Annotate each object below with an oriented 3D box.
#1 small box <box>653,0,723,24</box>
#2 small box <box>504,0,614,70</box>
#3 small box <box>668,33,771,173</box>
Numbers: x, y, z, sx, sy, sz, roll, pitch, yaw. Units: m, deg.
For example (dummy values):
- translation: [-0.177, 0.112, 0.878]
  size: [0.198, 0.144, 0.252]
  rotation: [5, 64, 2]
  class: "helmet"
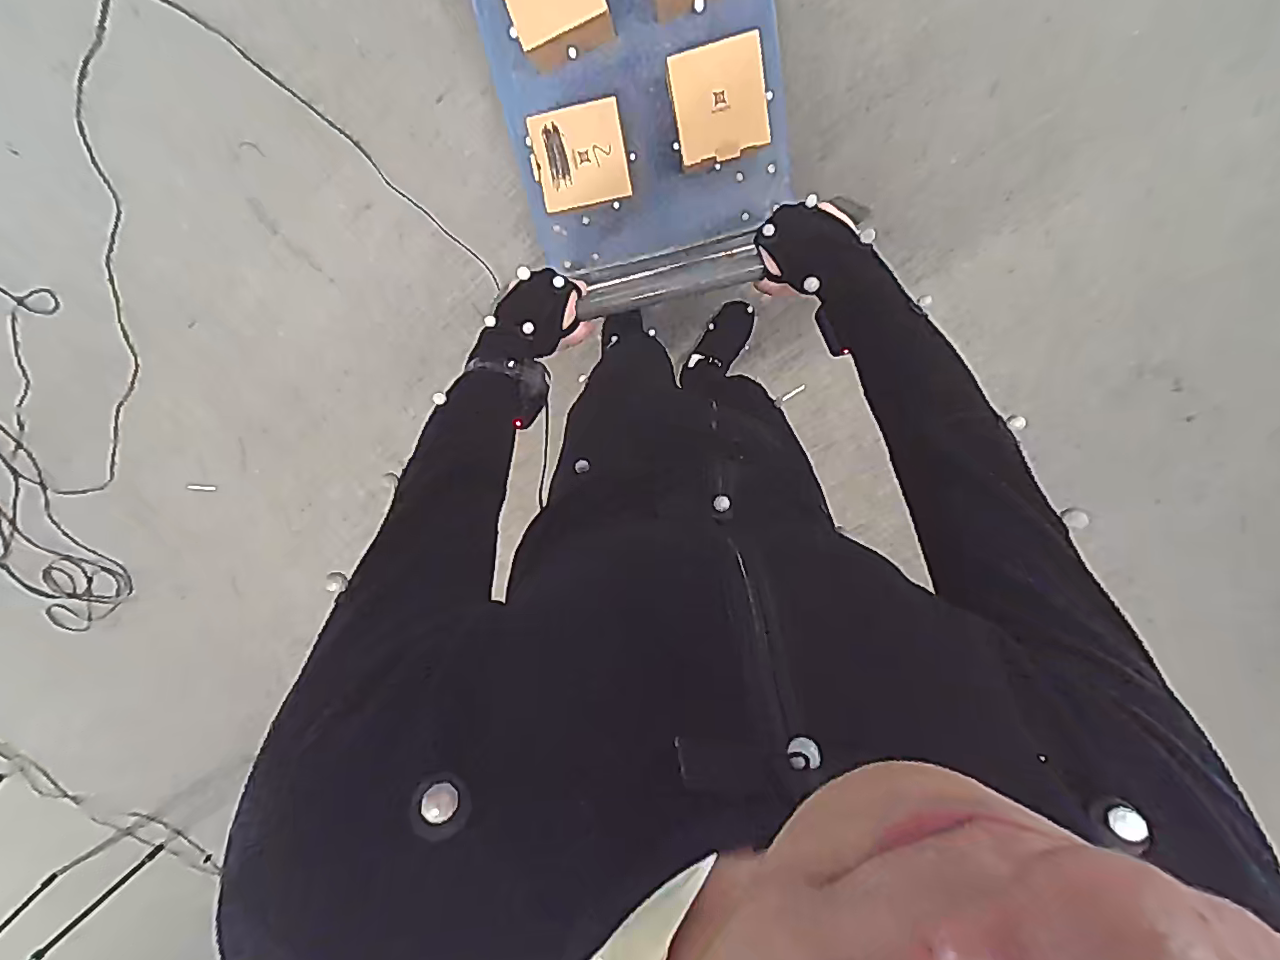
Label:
- translation: [0.084, -0.961, 0.951]
  size: [0.168, 0.176, 0.179]
  rotation: [-16, 114, 11]
  class: "small box"
- translation: [-0.156, -0.894, 0.996]
  size: [0.168, 0.176, 0.179]
  rotation: [-18, 112, 11]
  class: "small box"
- translation: [0.151, -0.724, 1.059]
  size: [0.168, 0.176, 0.179]
  rotation: [-11, 115, 8]
  class: "small box"
